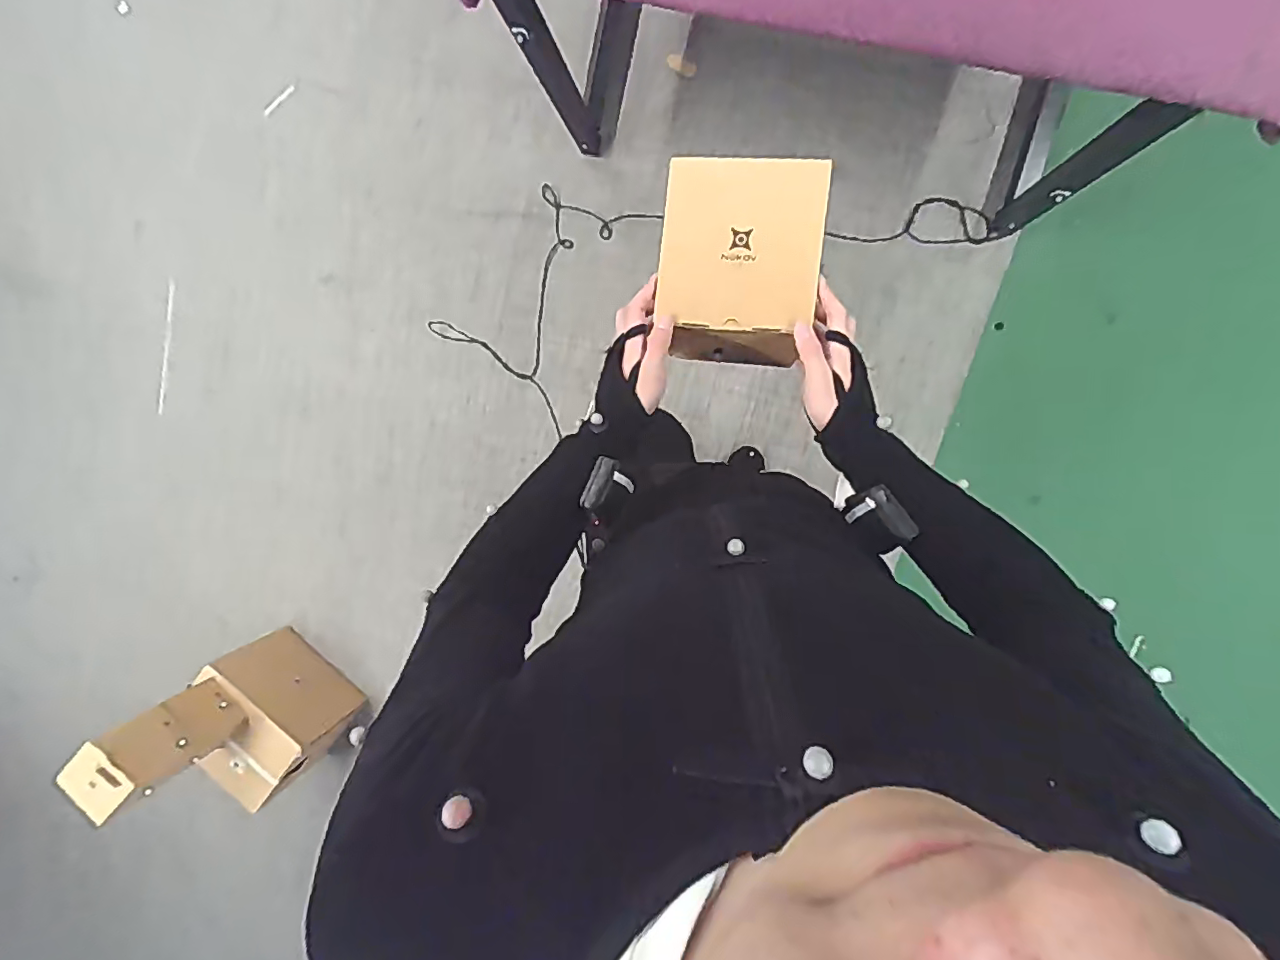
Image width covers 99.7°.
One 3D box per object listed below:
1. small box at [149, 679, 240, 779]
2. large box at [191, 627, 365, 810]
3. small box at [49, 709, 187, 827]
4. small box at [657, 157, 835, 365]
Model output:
[{"bbox_3d":[-1.319,0.717,1.562,0.179,0.176,0.168,-44,89,10],"label":"small box"},{"bbox_3d":[-1.237,0.774,1.805,0.408,0.320,0.320,39,102,2],"label":"large box"},{"bbox_3d":[-1.336,0.735,1.400,0.179,0.176,0.168,-44,90,11],"label":"small box"},{"bbox_3d":[0.118,-0.243,0.634,0.168,0.176,0.179,7,93,8],"label":"small box"}]
